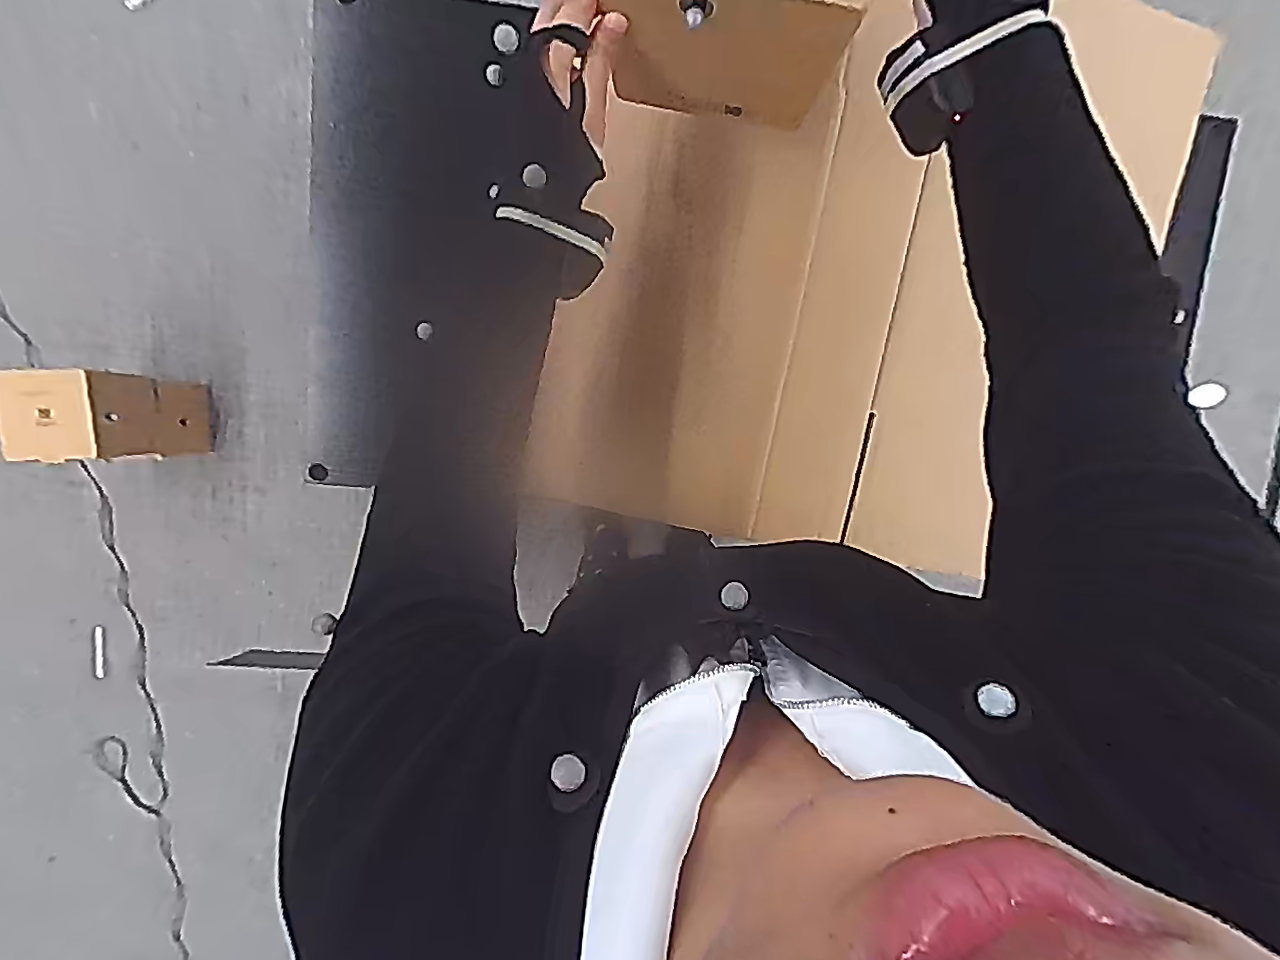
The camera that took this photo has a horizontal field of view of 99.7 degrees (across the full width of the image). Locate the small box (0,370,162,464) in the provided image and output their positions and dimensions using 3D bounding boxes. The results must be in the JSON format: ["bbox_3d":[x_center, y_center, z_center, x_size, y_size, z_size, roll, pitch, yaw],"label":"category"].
[{"bbox_3d":[-1.135,-0.130,1.111,0.168,0.176,0.179,-3,96,-5],"label":"small box"}]

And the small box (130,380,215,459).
[{"bbox_3d":[-1.147,-0.143,1.273,0.168,0.176,0.179,0,98,-5],"label":"small box"}]

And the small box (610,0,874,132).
[{"bbox_3d":[0.073,-0.379,0.366,0.168,0.176,0.179,12,101,1],"label":"small box"}]
